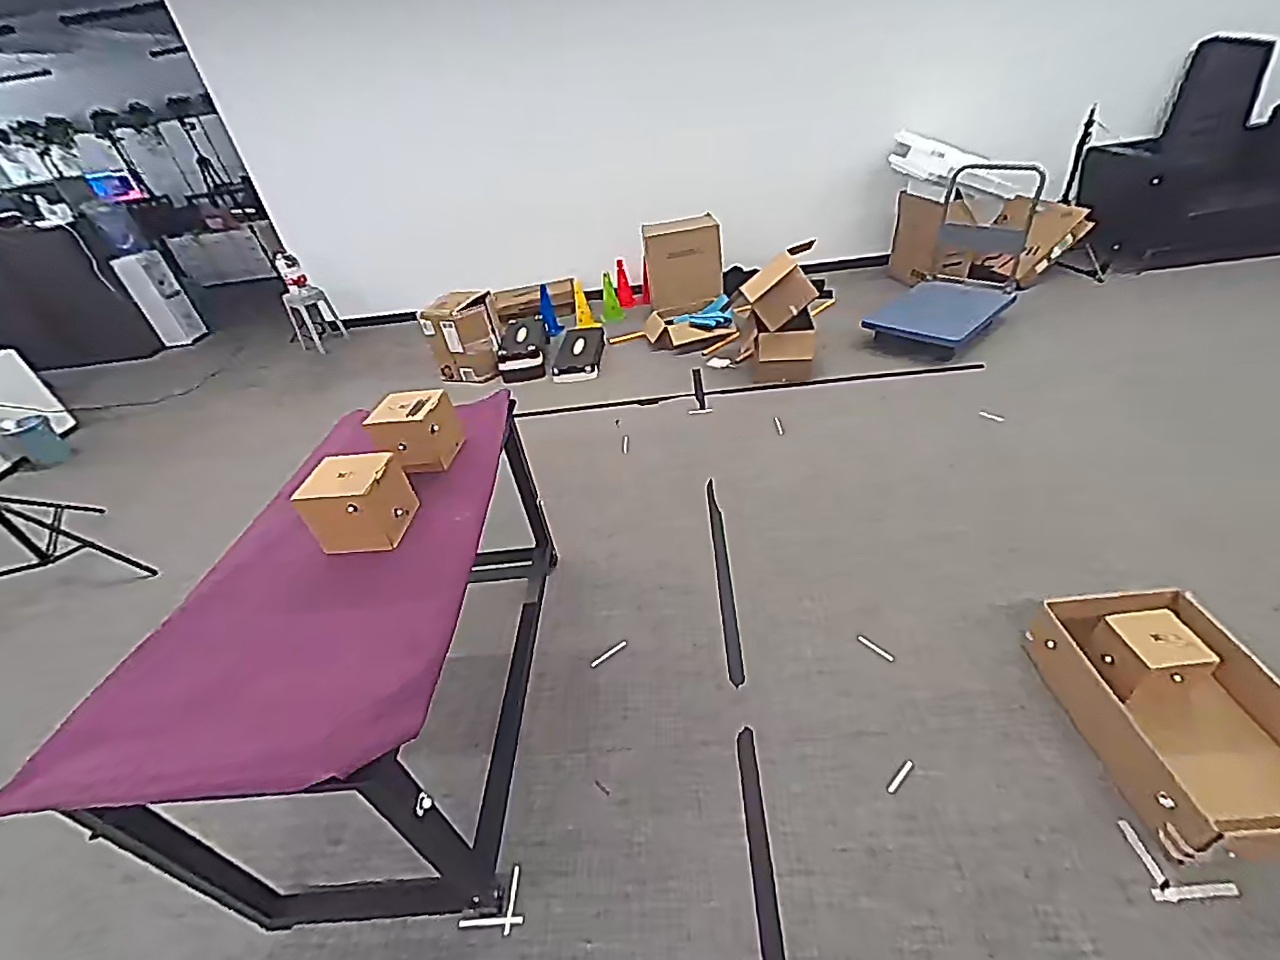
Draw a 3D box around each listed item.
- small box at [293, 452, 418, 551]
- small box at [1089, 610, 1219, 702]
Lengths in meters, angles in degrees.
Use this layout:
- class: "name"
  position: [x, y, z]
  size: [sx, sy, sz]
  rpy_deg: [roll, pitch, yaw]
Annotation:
- class: "small box"
  position: [-0.659, 0.054, 1.277]
  size: [0.179, 0.176, 0.168]
  rpy_deg: [-4, 37, 5]
- class: "small box"
  position: [1.362, 0.477, 1.456]
  size: [0.179, 0.176, 0.168]
  rpy_deg: [-7, 38, 2]
